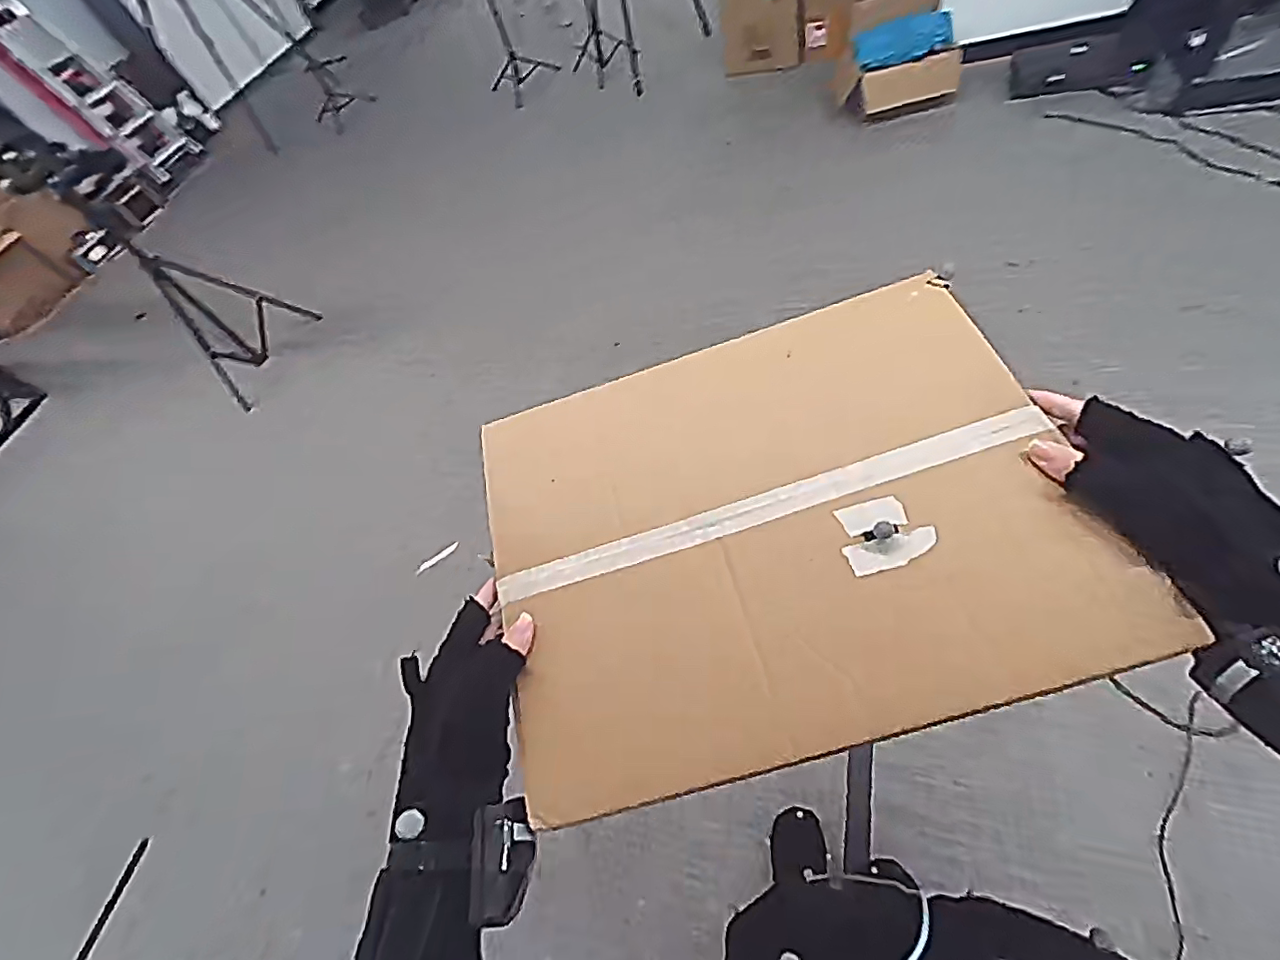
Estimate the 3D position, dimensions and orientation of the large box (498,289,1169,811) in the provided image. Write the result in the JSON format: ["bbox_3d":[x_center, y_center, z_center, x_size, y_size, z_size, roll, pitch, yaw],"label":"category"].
[{"bbox_3d":[0.123,0.090,0.534,0.408,0.320,0.320,-18,61,4],"label":"large box"}]
